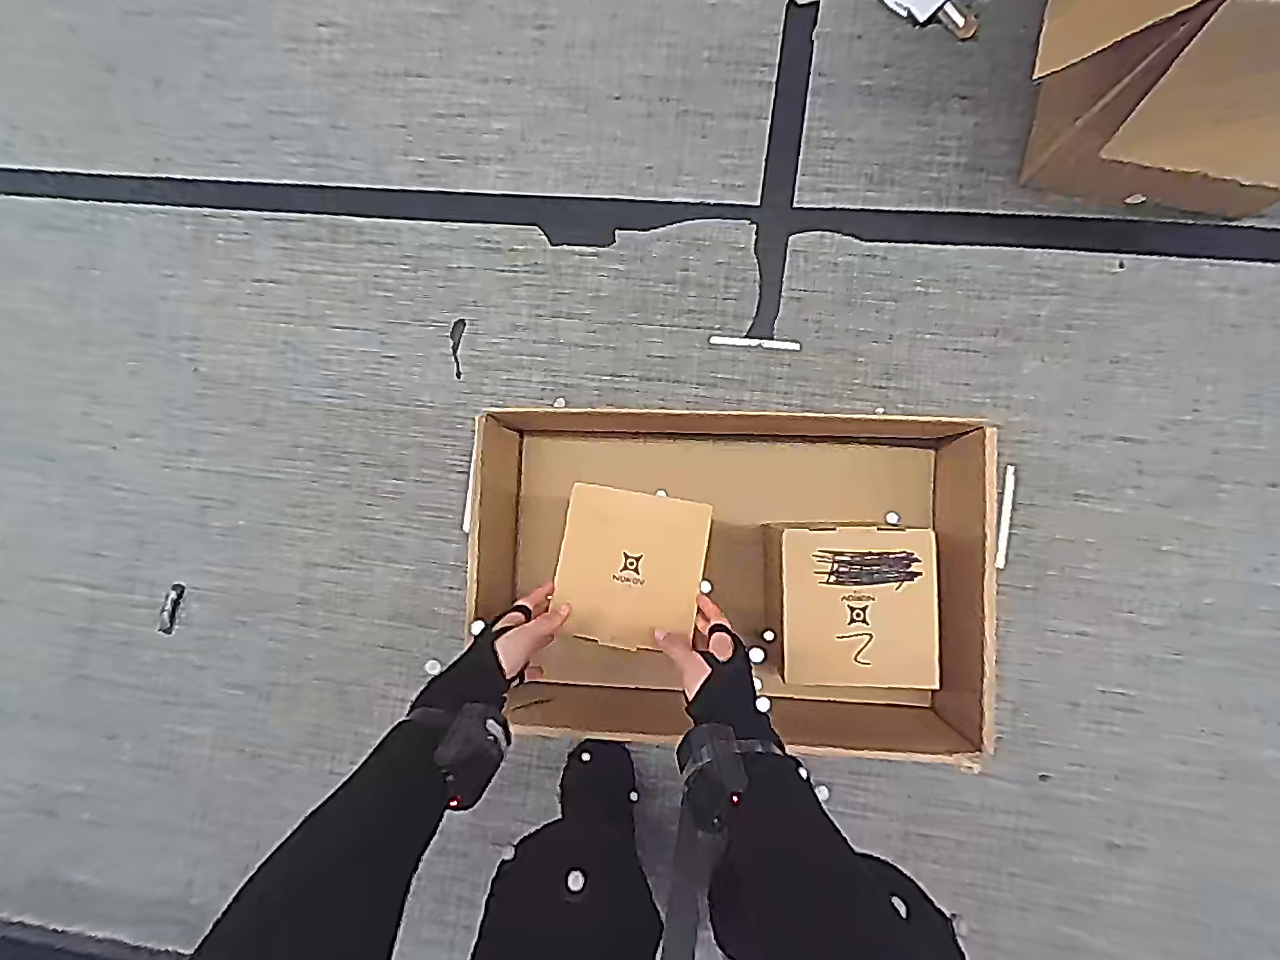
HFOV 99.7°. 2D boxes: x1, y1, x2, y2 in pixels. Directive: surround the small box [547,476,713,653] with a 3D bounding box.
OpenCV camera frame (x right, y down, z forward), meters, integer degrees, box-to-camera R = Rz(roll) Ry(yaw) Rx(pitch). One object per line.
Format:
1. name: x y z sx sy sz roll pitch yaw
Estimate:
1. small box: -0.012 0.105 0.683 0.168 0.176 0.179 9 81 1
